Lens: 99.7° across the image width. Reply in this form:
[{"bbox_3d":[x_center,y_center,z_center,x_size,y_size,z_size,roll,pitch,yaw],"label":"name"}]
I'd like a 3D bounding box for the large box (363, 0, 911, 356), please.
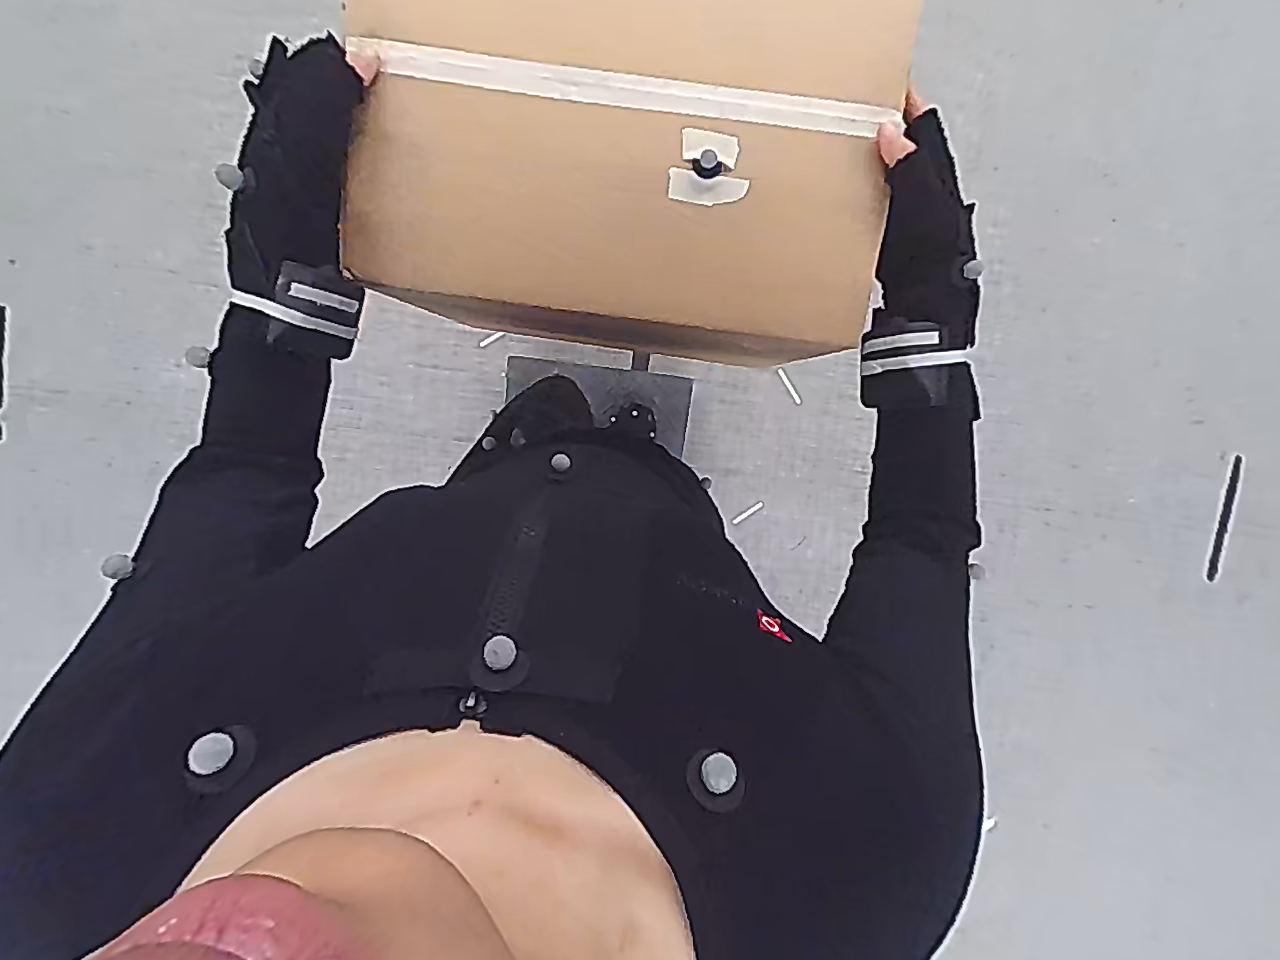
[{"bbox_3d":[-0.008,-0.314,0.555,0.408,0.320,0.320,7,100,-1],"label":"large box"}]
